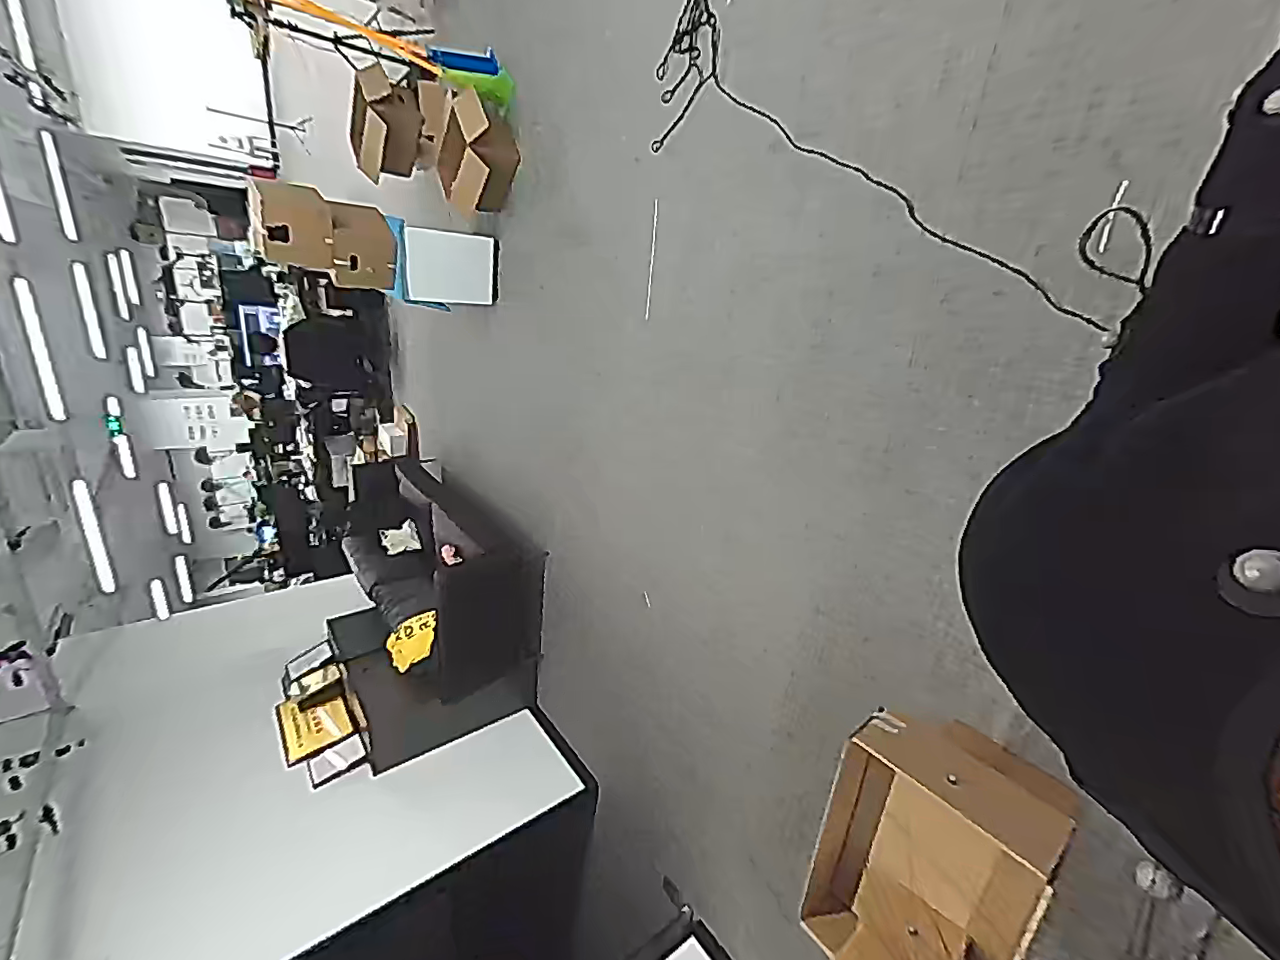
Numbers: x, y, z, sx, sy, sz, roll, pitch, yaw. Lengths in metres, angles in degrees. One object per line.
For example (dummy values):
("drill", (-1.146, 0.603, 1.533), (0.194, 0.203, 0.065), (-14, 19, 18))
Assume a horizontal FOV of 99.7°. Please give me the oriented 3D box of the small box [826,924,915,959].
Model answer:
("small box", (0.486, 1.070, 1.108), (0.179, 0.176, 0.168), (20, 113, 47))
